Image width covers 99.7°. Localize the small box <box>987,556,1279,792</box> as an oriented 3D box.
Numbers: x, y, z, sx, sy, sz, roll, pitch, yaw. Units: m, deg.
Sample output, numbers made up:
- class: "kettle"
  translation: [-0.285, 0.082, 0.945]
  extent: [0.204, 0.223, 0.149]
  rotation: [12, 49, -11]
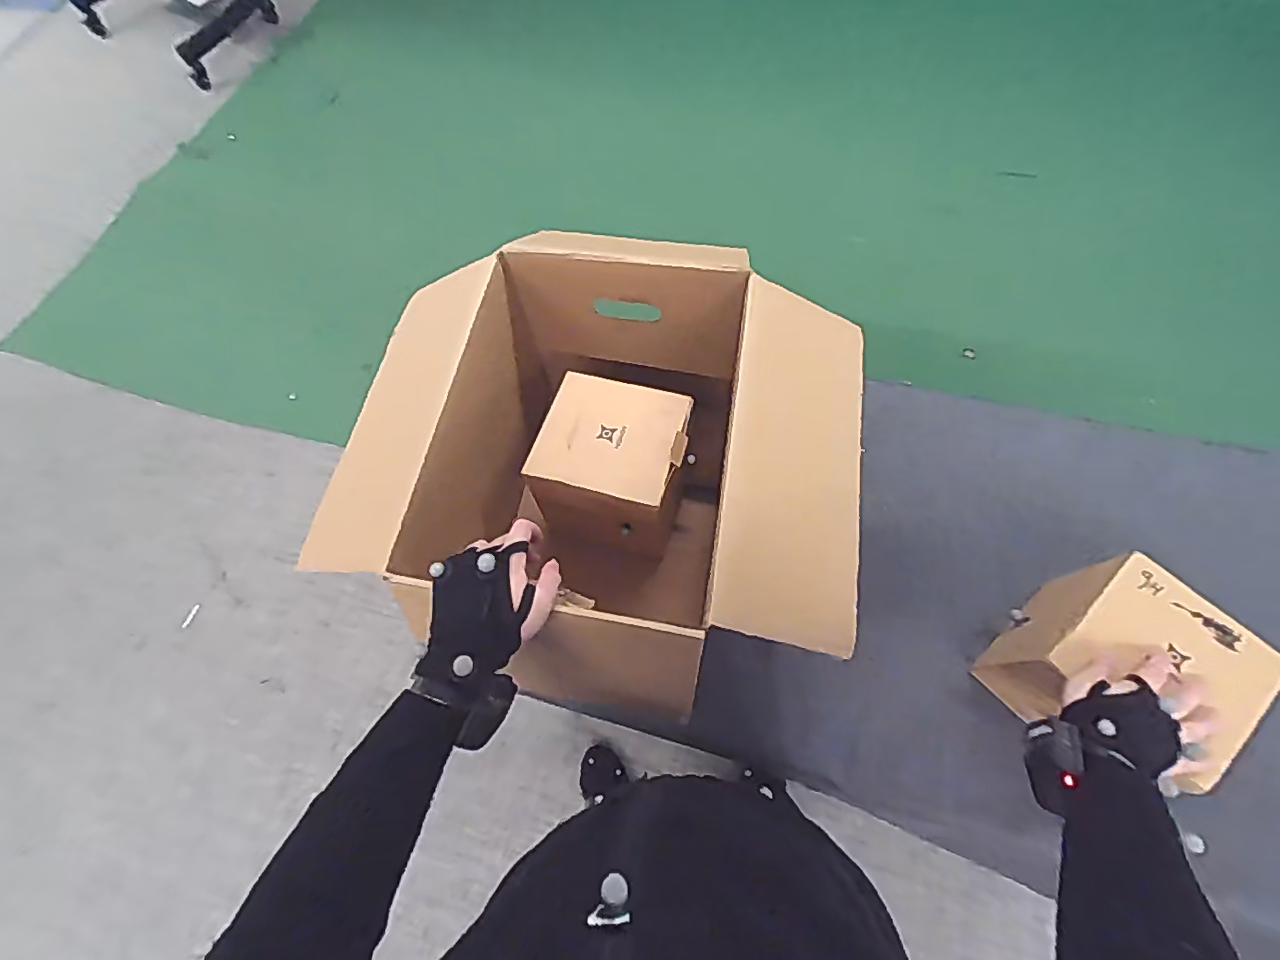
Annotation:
- class: "small box"
  translation: [0.549, 0.222, 0.629]
  extent: [0.179, 0.176, 0.168]
  rotation: [-40, 69, -12]
